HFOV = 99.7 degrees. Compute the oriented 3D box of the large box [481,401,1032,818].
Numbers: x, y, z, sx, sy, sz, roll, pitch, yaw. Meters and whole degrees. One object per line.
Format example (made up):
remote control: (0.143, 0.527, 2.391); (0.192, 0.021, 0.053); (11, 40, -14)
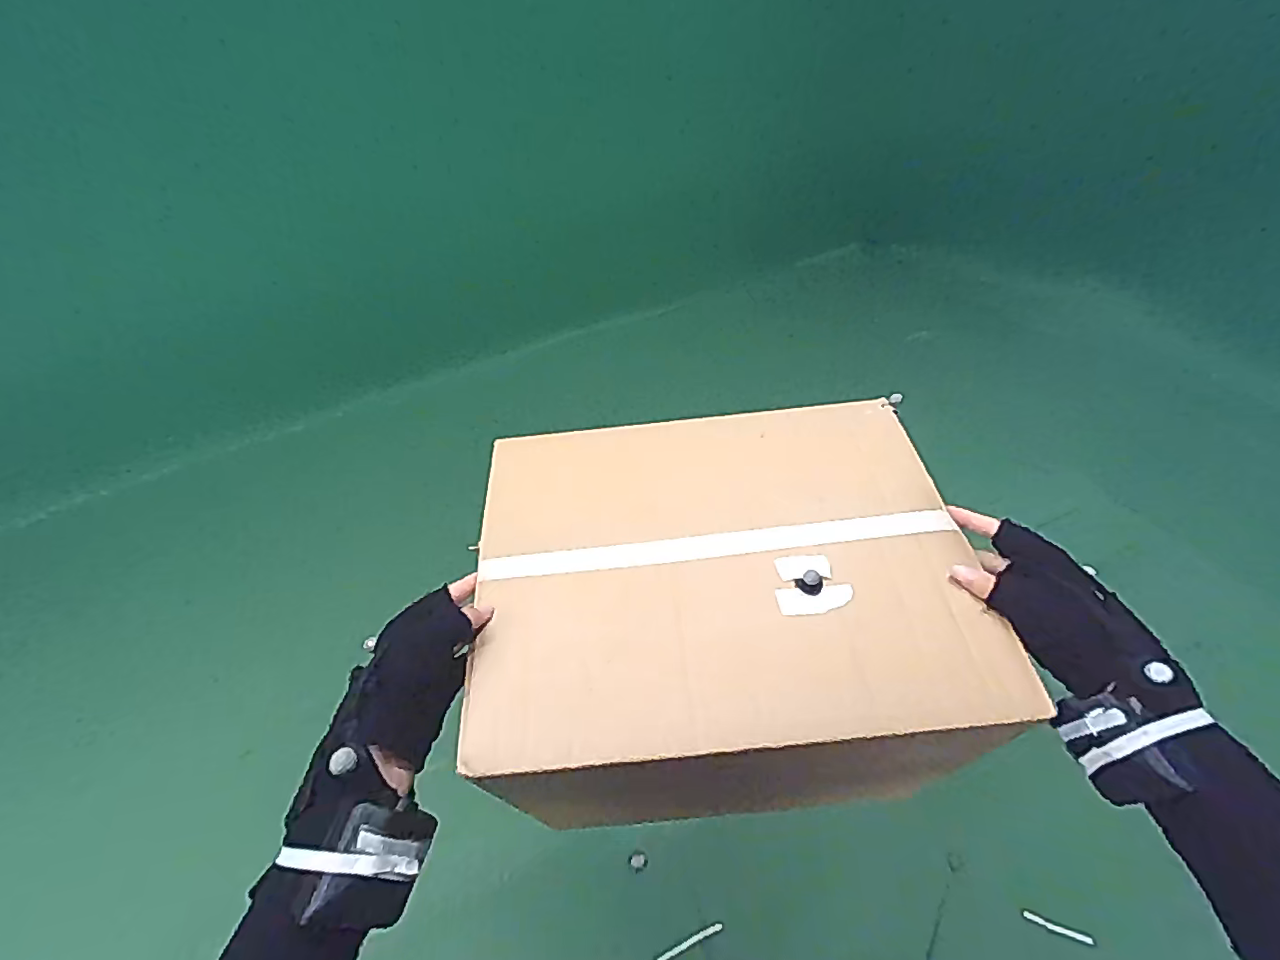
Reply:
large box: (0.080, 0.150, 0.589); (0.408, 0.320, 0.320); (-6, 52, 1)
